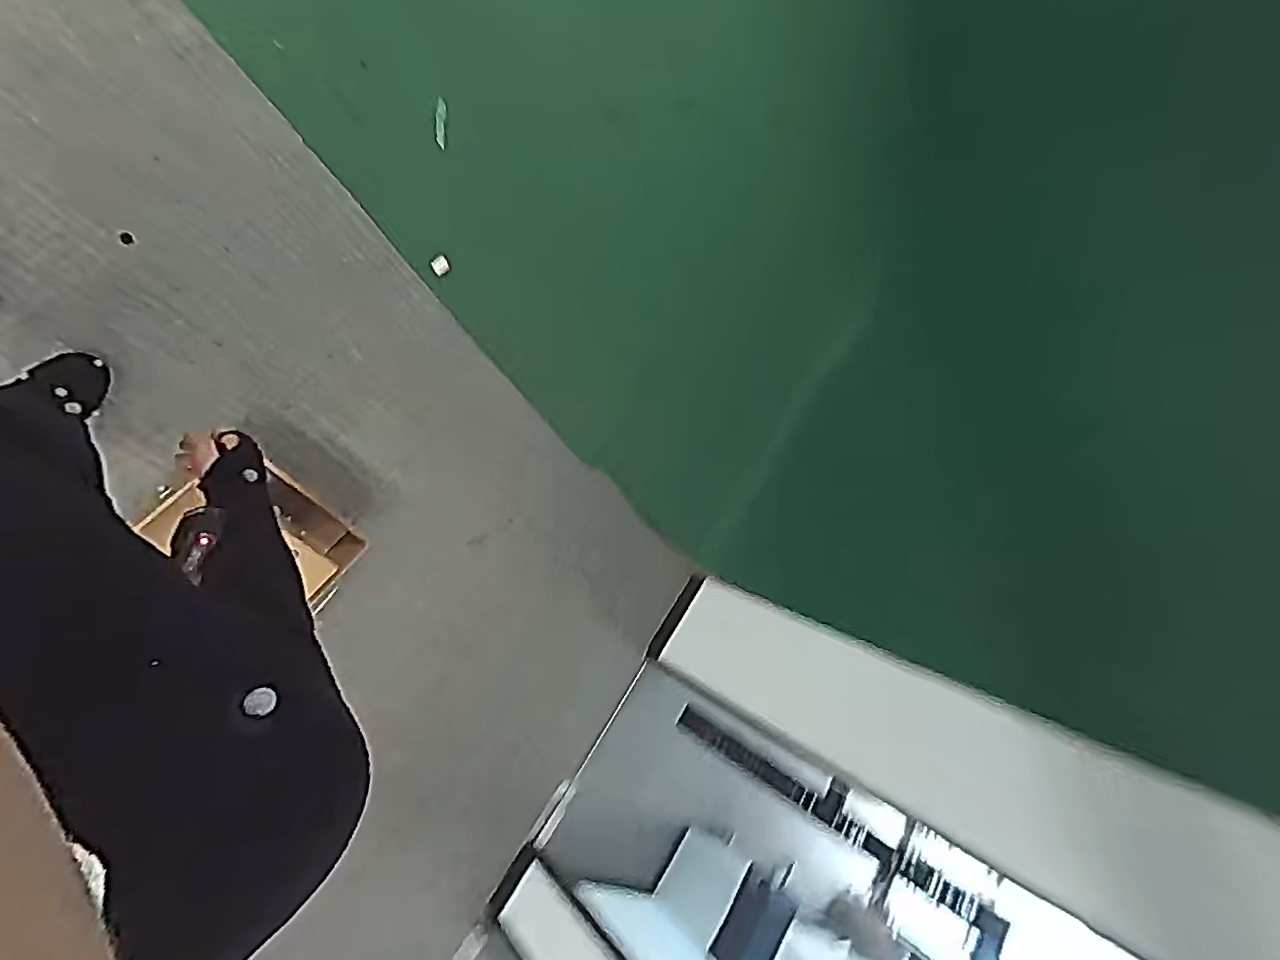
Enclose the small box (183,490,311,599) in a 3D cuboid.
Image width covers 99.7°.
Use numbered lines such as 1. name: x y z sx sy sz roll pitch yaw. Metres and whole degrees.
1. small box: -0.938 0.147 1.290 0.168 0.176 0.179 -50 133 -21
